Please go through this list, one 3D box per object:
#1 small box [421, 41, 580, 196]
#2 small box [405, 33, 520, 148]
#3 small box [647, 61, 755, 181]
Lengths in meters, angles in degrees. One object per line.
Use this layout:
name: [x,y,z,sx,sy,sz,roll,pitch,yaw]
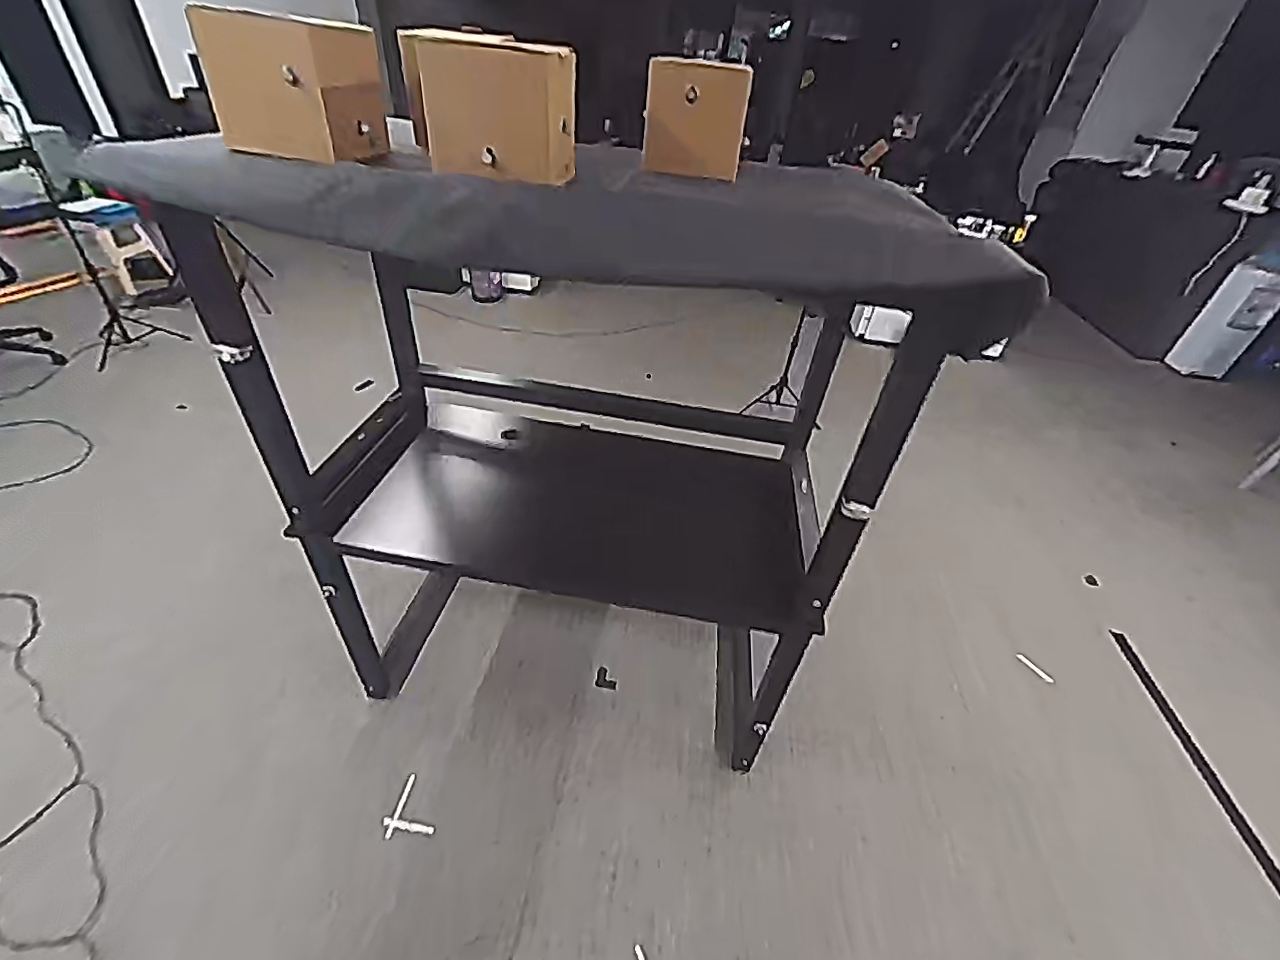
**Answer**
small box: [-0.194,-0.533,0.802,0.179,0.176,0.168,9,38,3]
small box: [-0.318,-0.725,1.022,0.168,0.176,0.179,4,39,-1]
small box: [0.111,-0.671,1.012,0.179,0.176,0.168,9,40,4]
